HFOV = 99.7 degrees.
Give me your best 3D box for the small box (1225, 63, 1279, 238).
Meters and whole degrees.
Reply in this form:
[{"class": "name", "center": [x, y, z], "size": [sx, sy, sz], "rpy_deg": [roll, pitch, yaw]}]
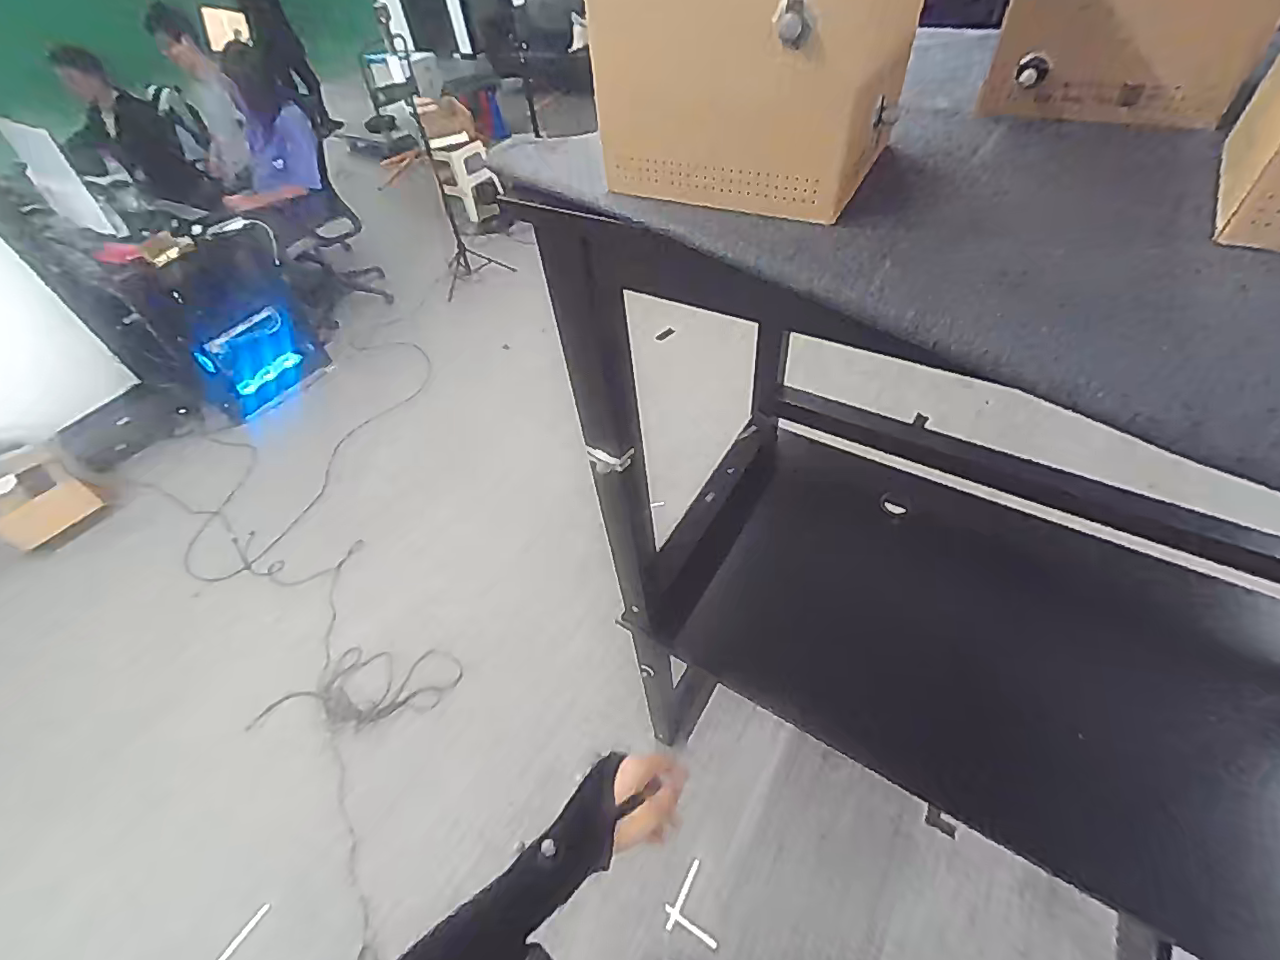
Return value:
[{"class": "small box", "center": [0.426, -0.211, 0.244], "size": [0.168, 0.176, 0.179], "rpy_deg": [25, 55, 27]}]
